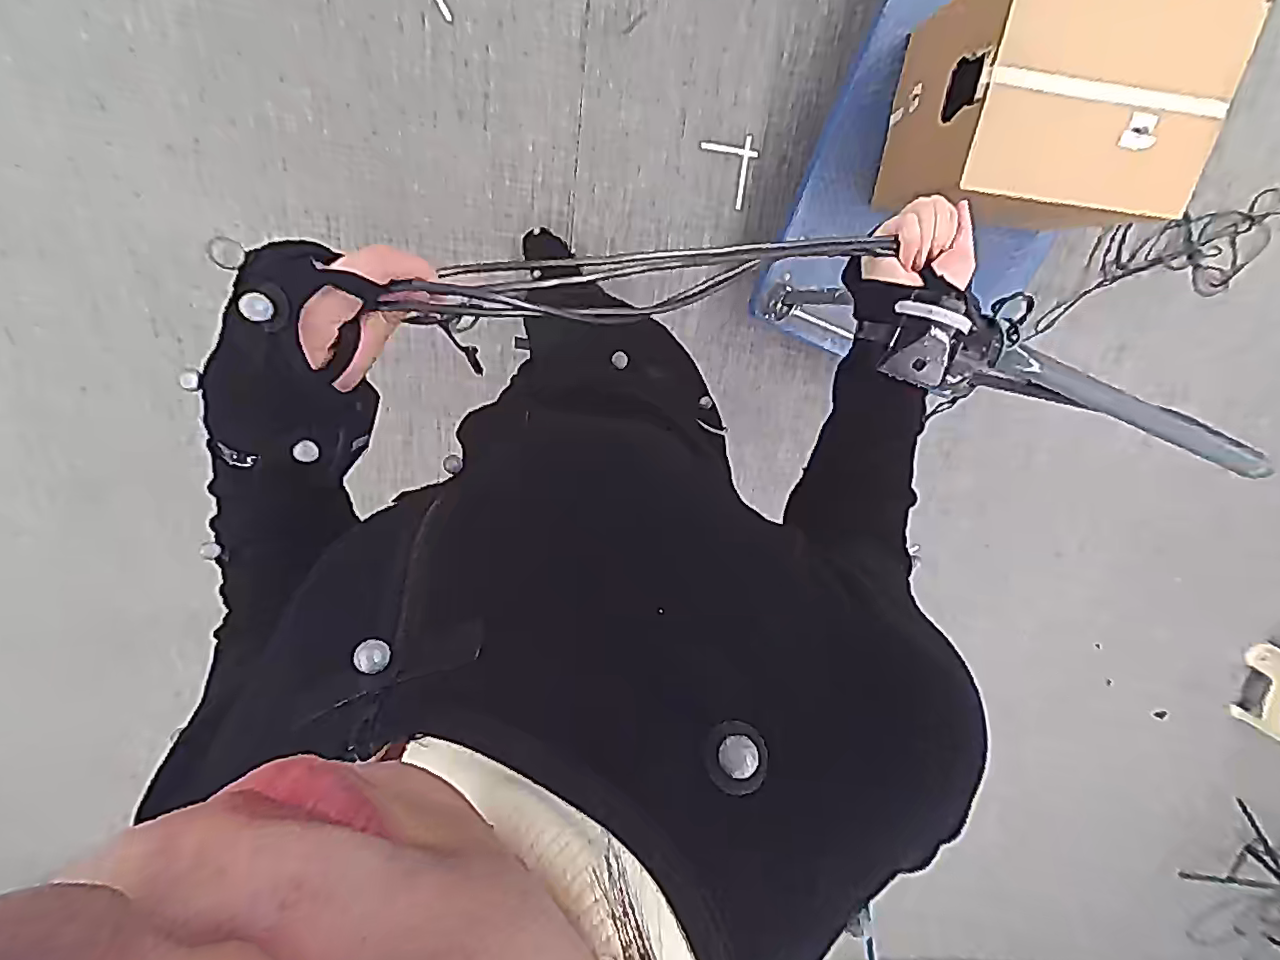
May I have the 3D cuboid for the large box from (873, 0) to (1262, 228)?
[{"bbox_3d":[0.707,-0.651,0.973,0.408,0.320,0.320,4,112,-6],"label":"large box"}]
